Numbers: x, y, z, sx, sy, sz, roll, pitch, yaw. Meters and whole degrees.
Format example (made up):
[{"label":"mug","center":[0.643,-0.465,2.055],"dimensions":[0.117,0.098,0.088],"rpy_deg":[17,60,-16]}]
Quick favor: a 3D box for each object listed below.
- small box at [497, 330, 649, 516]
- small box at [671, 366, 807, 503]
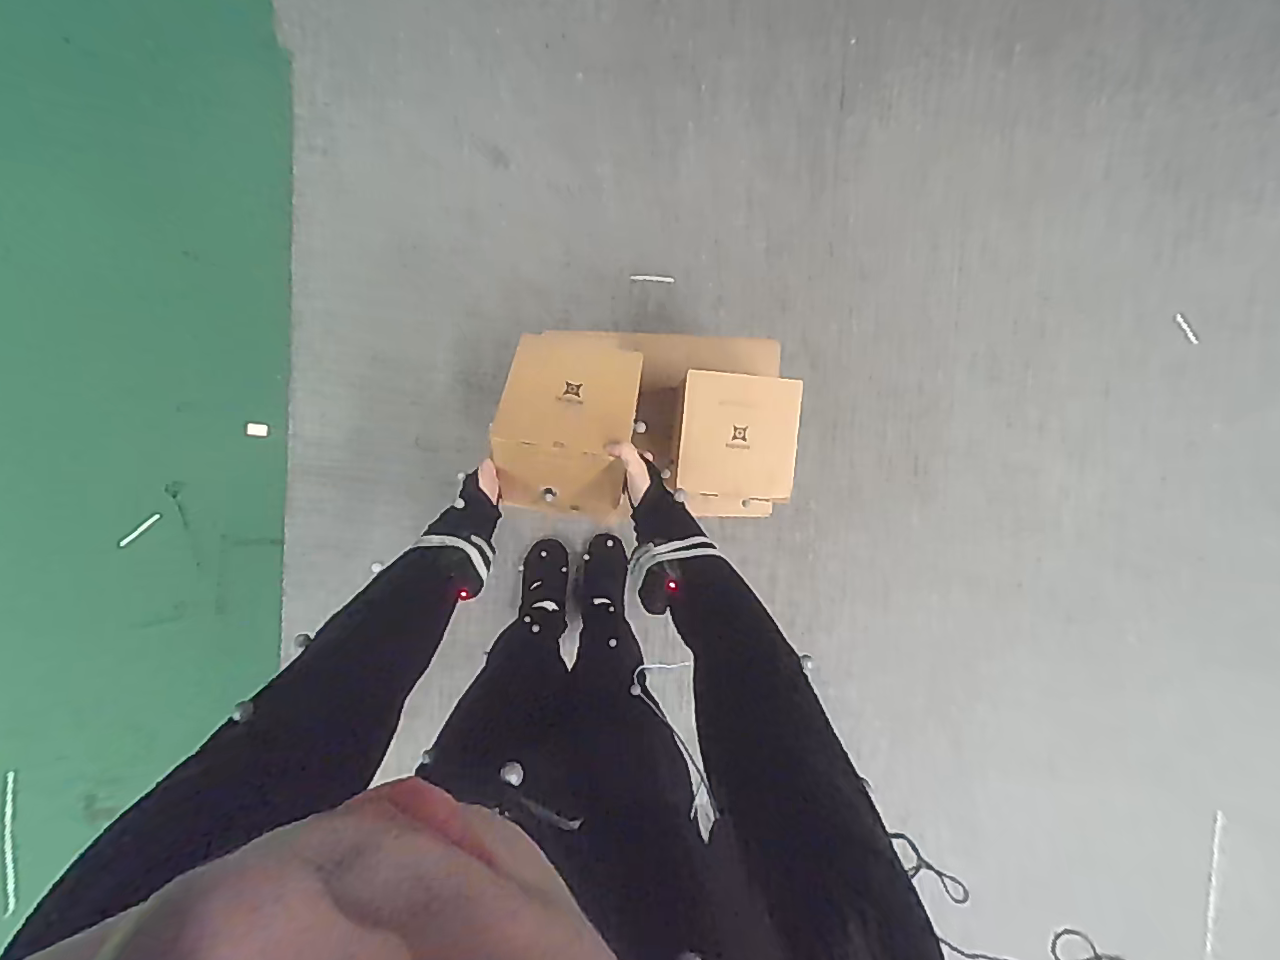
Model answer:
[{"label":"small box","center":[-0.089,-0.073,0.745],"dimensions":[0.168,0.176,0.179],"rpy_deg":[9,59,-2]},{"label":"small box","center":[0.140,-0.066,0.827],"dimensions":[0.168,0.176,0.179],"rpy_deg":[6,91,-2]}]
